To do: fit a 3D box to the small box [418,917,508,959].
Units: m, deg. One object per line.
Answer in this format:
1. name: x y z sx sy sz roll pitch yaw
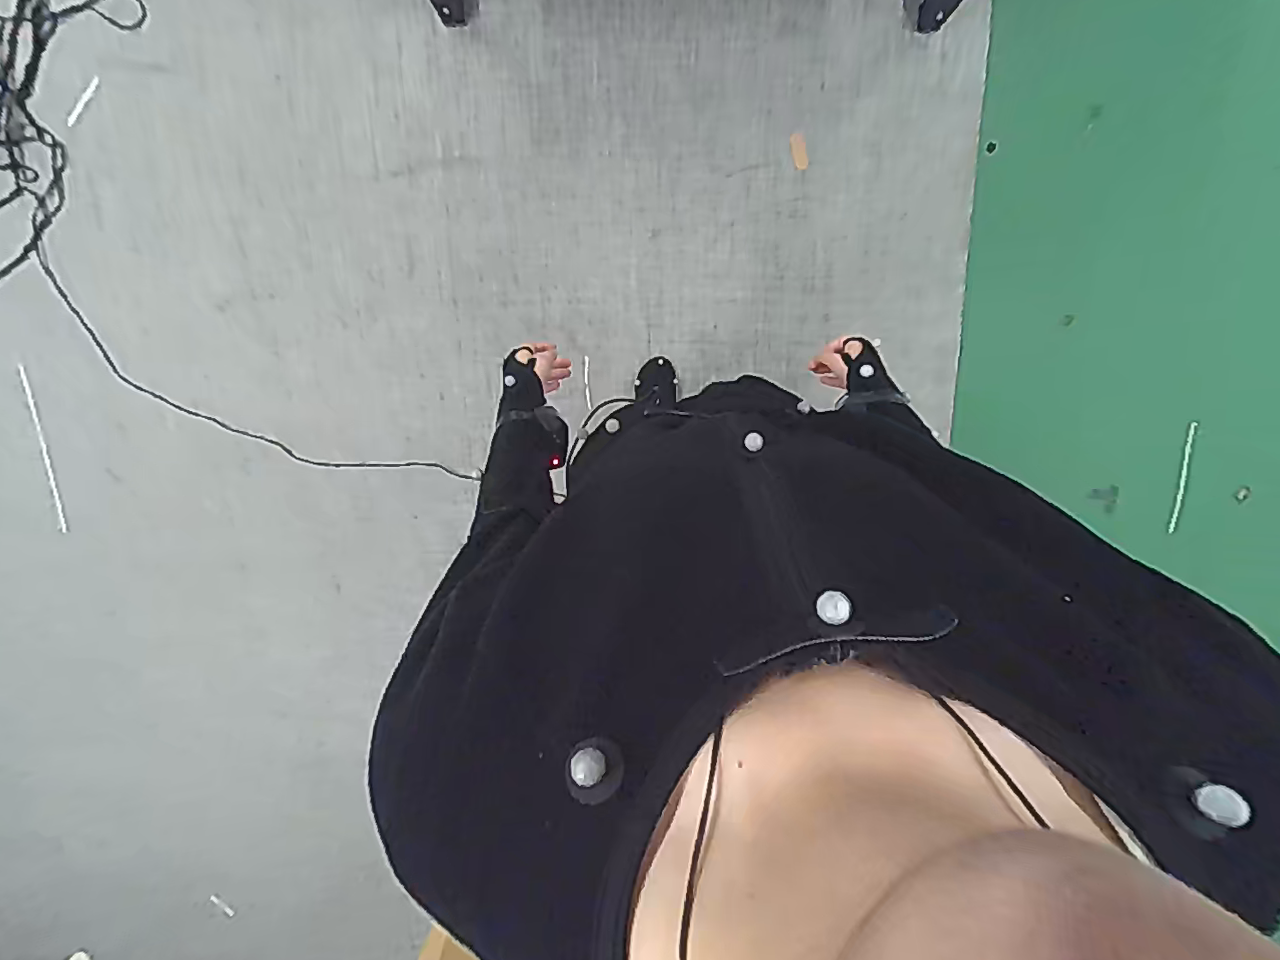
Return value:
1. small box: -0.401 1.092 1.149 0.168 0.176 0.179 33 101 -6
